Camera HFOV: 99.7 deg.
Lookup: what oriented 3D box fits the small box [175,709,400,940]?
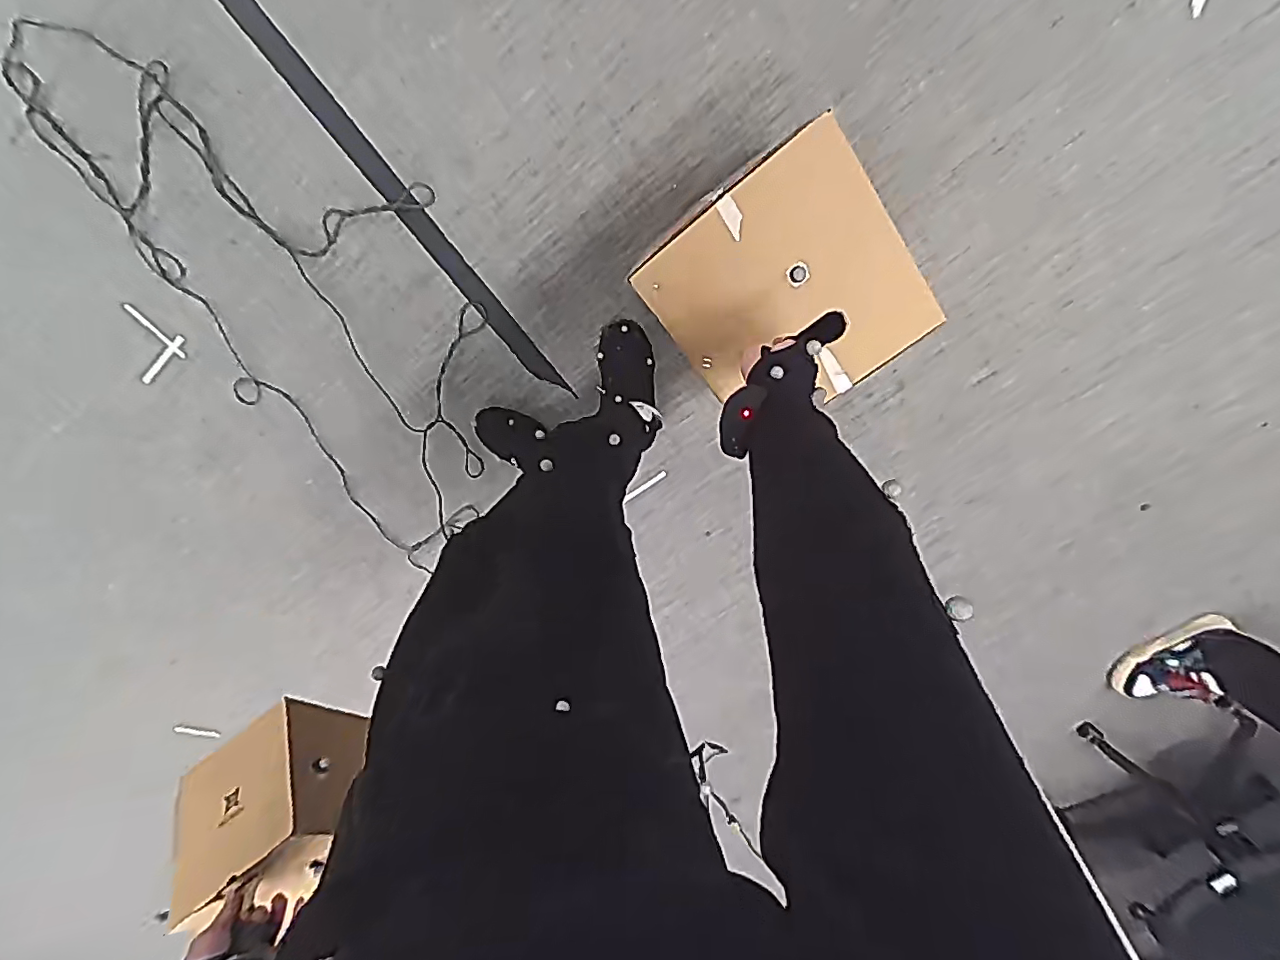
[{"bbox_3d":[-0.434,0.428,0.686,0.168,0.179,0.176,-38,138,-2],"label":"small box"}]
